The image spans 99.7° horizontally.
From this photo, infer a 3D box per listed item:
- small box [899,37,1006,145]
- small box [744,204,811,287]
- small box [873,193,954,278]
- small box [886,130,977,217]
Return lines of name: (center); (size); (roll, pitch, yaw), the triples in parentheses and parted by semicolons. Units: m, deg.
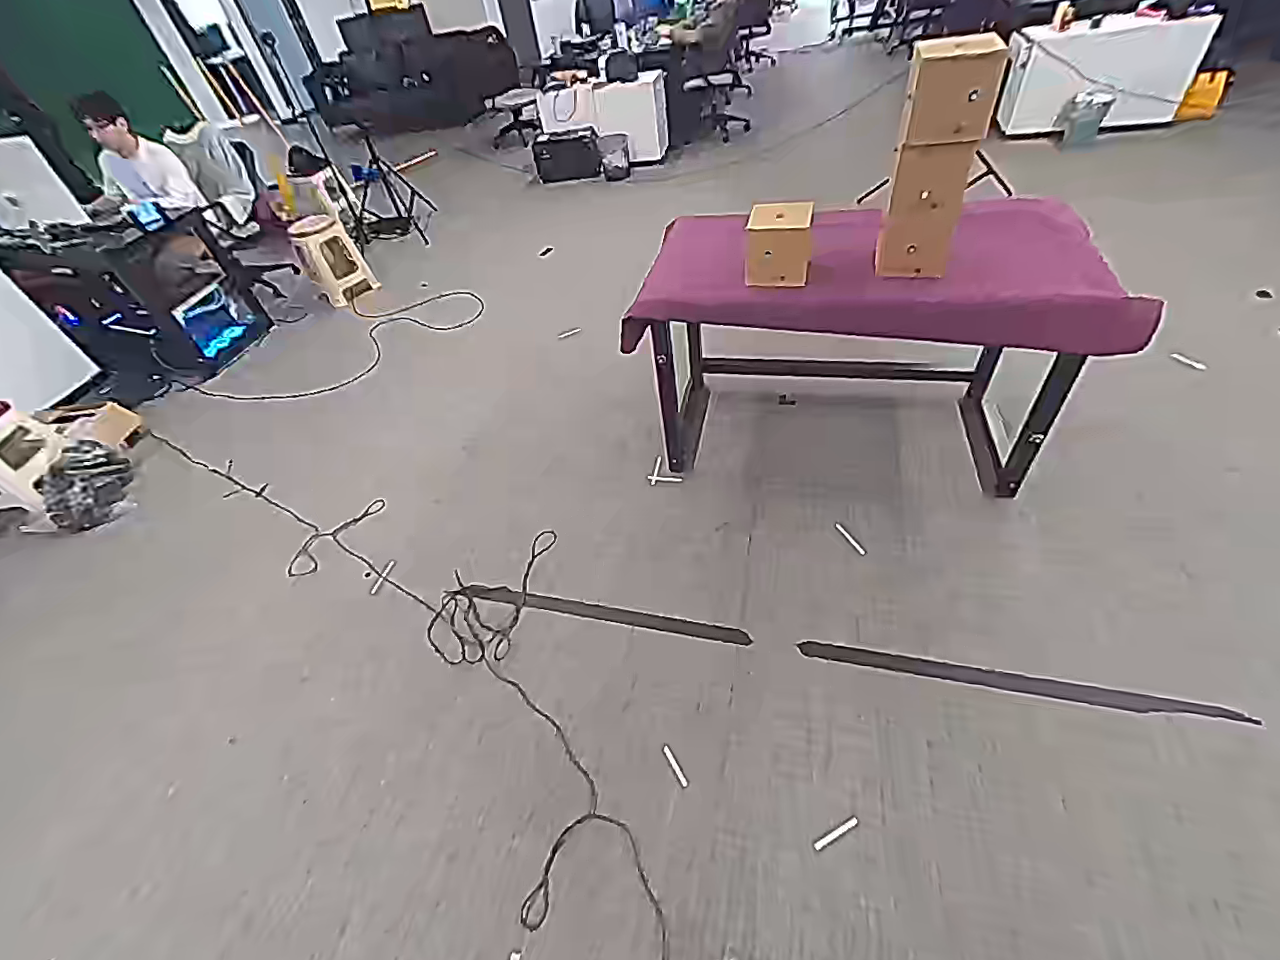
small box: (0.700, -0.878, 1.231); (0.168, 0.176, 0.179); (5, 47, 14)
small box: (0.392, -0.663, 1.538); (0.168, 0.176, 0.179); (6, 47, 15)
small box: (0.742, -0.667, 1.477); (0.168, 0.176, 0.179); (8, 48, 17)
small box: (0.724, -0.782, 1.361); (0.168, 0.176, 0.179); (7, 49, 17)
